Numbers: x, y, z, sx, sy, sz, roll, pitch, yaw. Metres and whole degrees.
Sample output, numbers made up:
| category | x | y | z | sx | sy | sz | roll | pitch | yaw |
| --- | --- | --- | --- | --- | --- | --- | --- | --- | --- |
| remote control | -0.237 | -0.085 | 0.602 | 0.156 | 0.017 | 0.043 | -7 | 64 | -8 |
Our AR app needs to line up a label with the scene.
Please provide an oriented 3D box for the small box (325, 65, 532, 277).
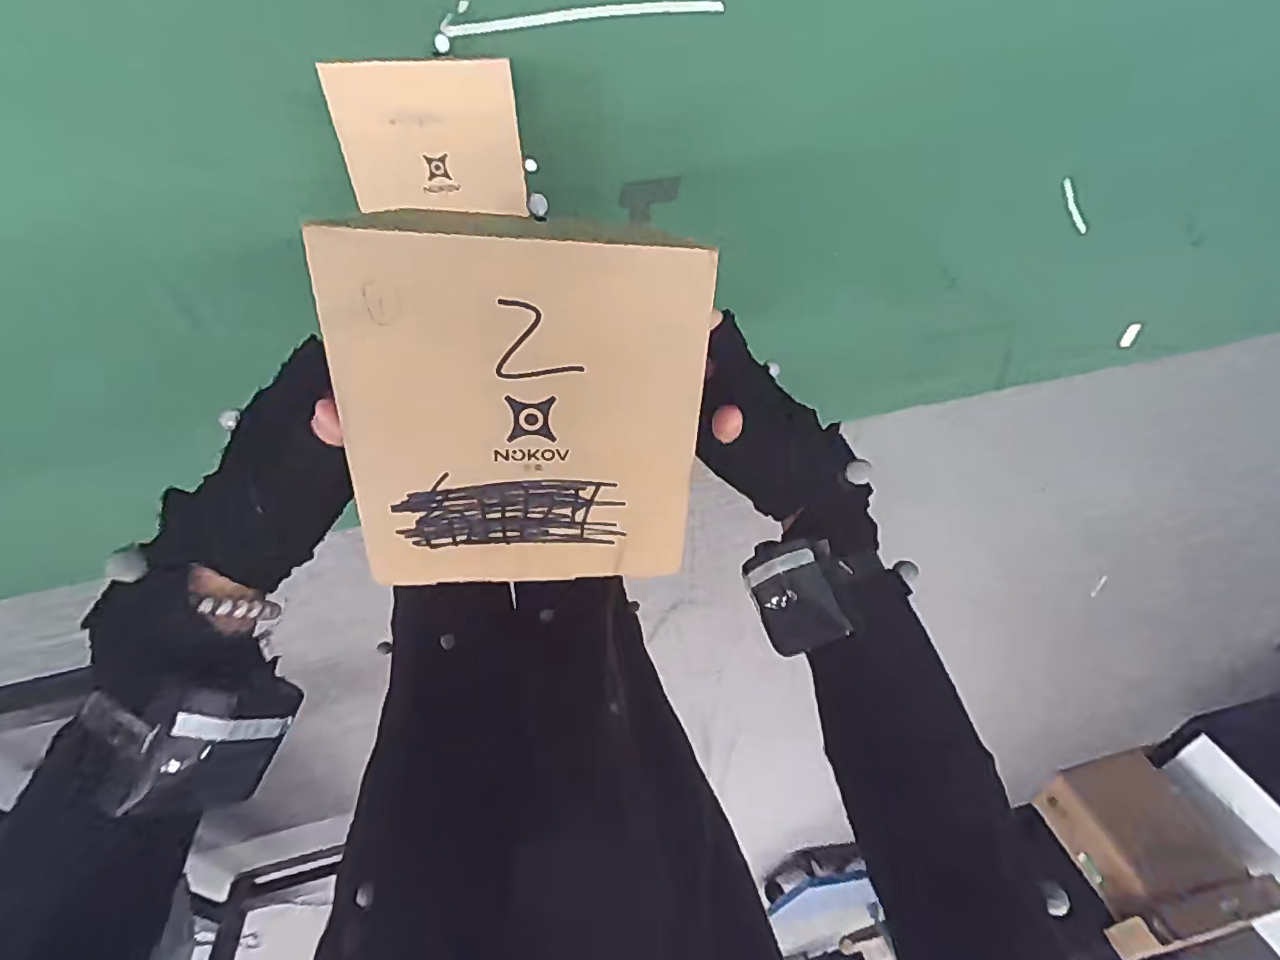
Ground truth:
| category | x | y | z | sx | sy | sz | roll | pitch | yaw |
| --- | --- | --- | --- | --- | --- | --- | --- | --- | --- |
| small box | -0.214 | -0.345 | 0.599 | 0.168 | 0.176 | 0.179 | -8 | 130 | -10 |
